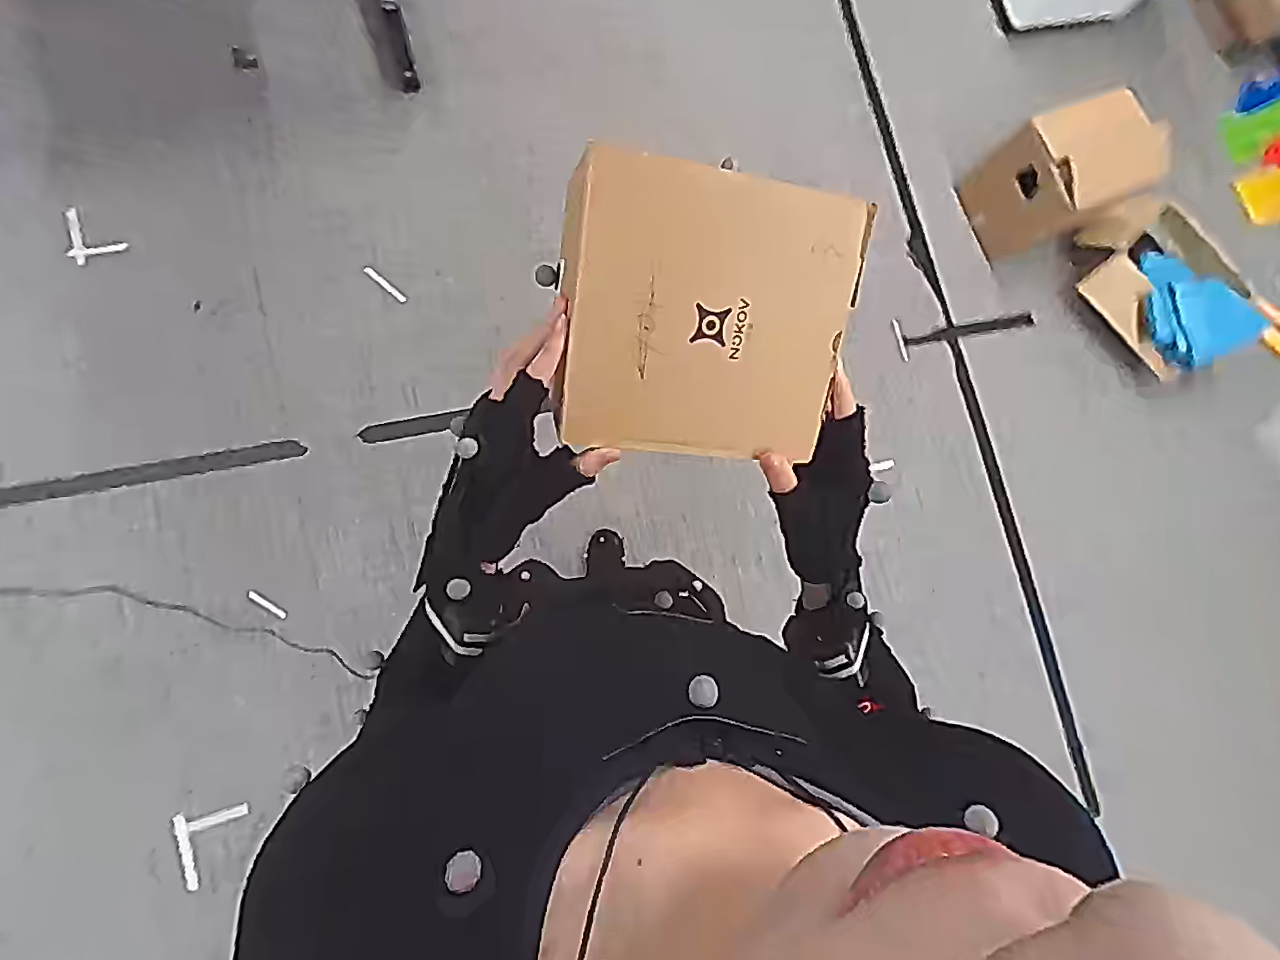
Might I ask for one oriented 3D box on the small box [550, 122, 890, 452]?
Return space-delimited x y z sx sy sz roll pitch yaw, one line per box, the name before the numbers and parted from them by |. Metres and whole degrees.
small box | 0.033 -0.126 0.387 0.179 0.176 0.168 3 109 -13
